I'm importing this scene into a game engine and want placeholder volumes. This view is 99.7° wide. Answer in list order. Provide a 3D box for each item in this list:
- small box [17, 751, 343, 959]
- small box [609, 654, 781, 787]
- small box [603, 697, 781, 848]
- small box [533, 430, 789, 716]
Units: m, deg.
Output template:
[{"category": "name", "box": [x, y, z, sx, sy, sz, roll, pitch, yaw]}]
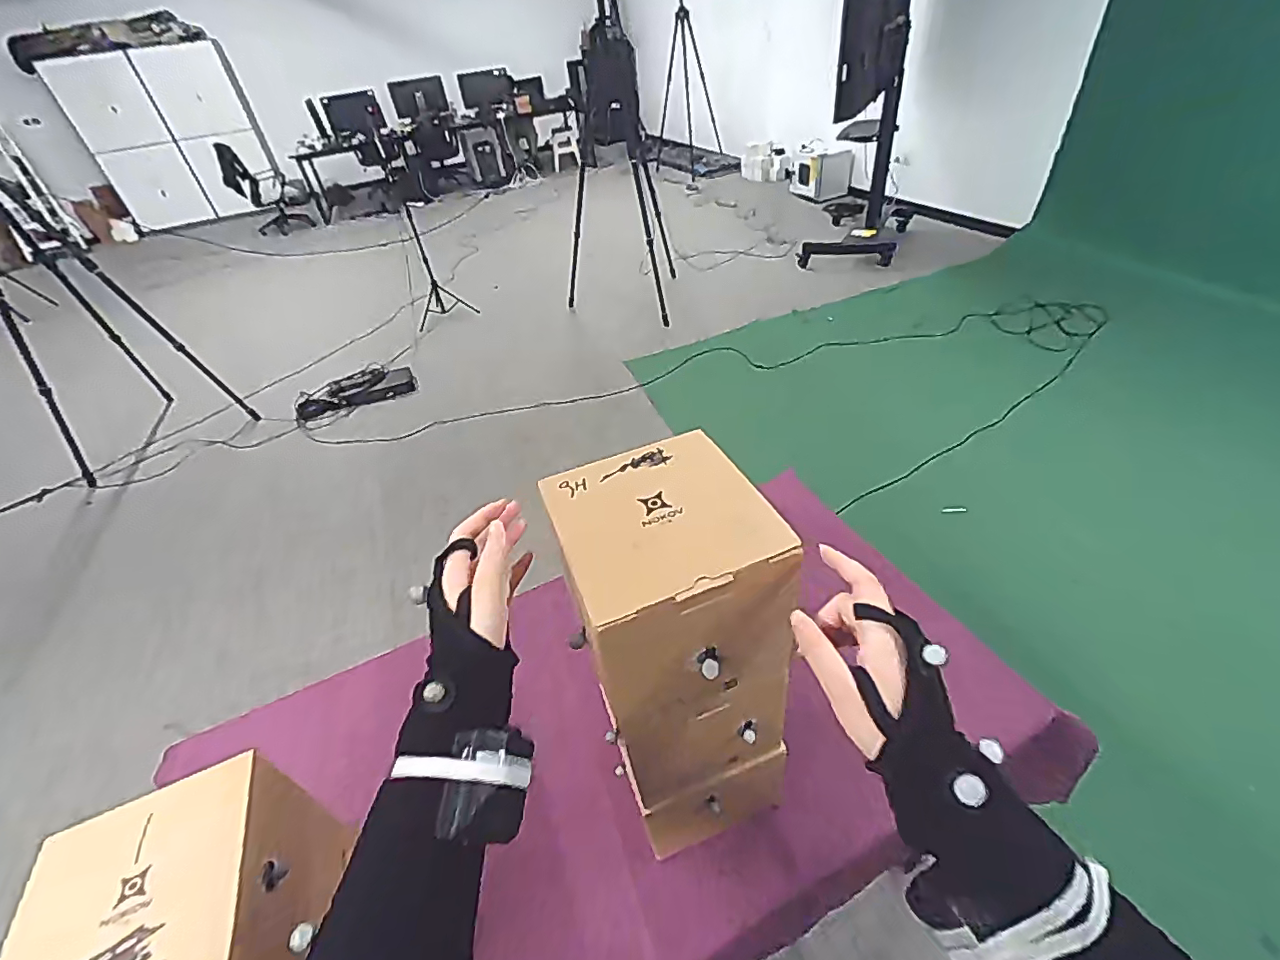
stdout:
[{"category": "small box", "box": [-0.386, 0.390, 0.482, 0.168, 0.176, 0.179, -21, 41, -14]}, {"category": "small box", "box": [0.041, 0.211, 0.603, 0.168, 0.176, 0.179, -18, 41, -11]}, {"category": "small box", "box": [0.066, 0.338, 0.702, 0.179, 0.176, 0.168, -19, 42, -10]}, {"category": "small box", "box": [0.017, 0.088, 0.496, 0.168, 0.176, 0.179, -19, 42, -12]}]
